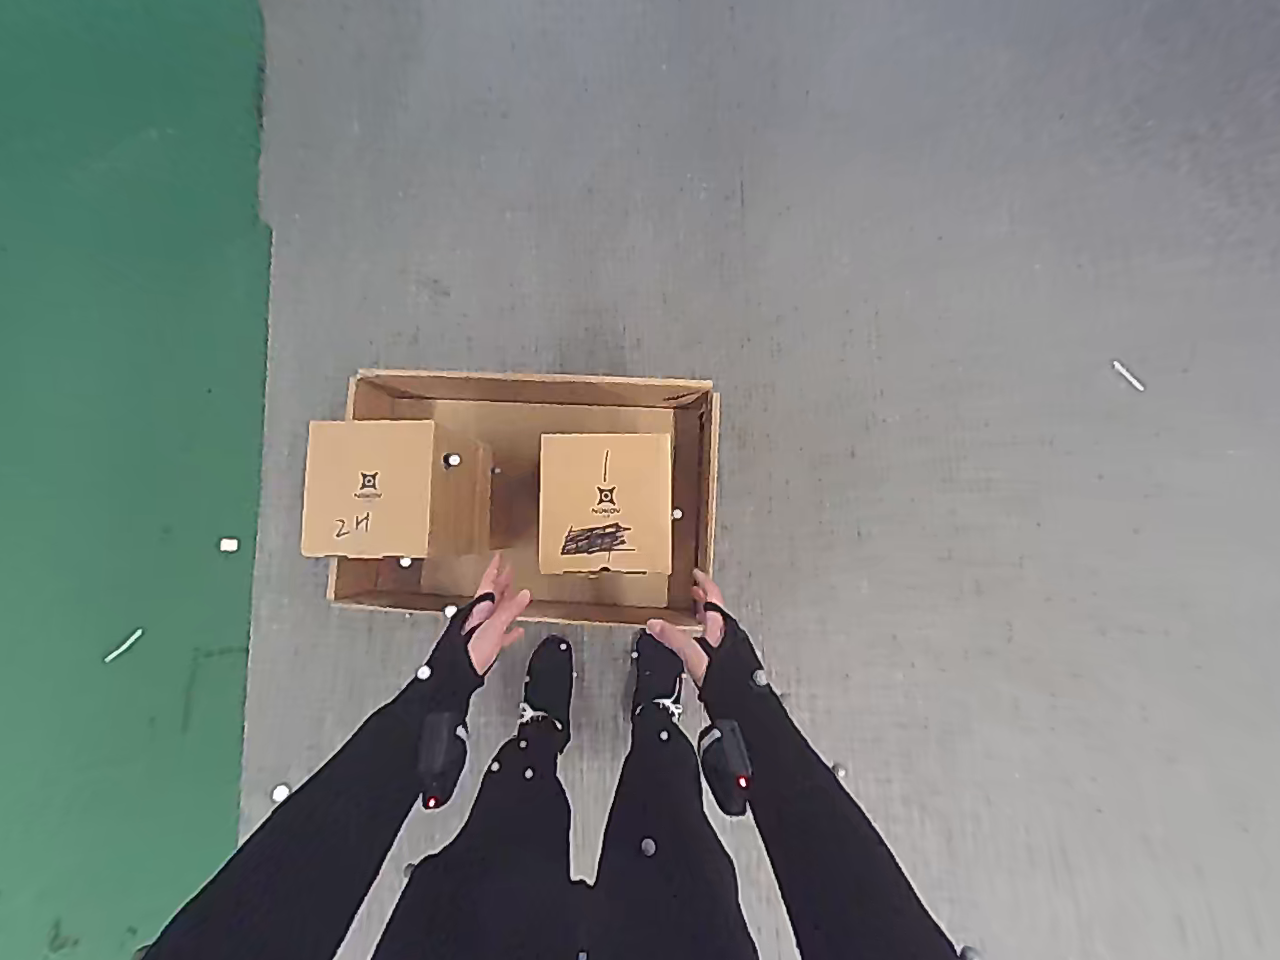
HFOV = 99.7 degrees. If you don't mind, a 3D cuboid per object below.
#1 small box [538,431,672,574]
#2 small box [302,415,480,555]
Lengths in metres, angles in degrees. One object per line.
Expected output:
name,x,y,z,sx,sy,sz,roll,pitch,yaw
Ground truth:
small box,-0.039,0.033,0.746,0.168,0.176,0.179,1,84,2
small box,-0.333,0.014,0.757,0.168,0.176,0.179,1,84,3
